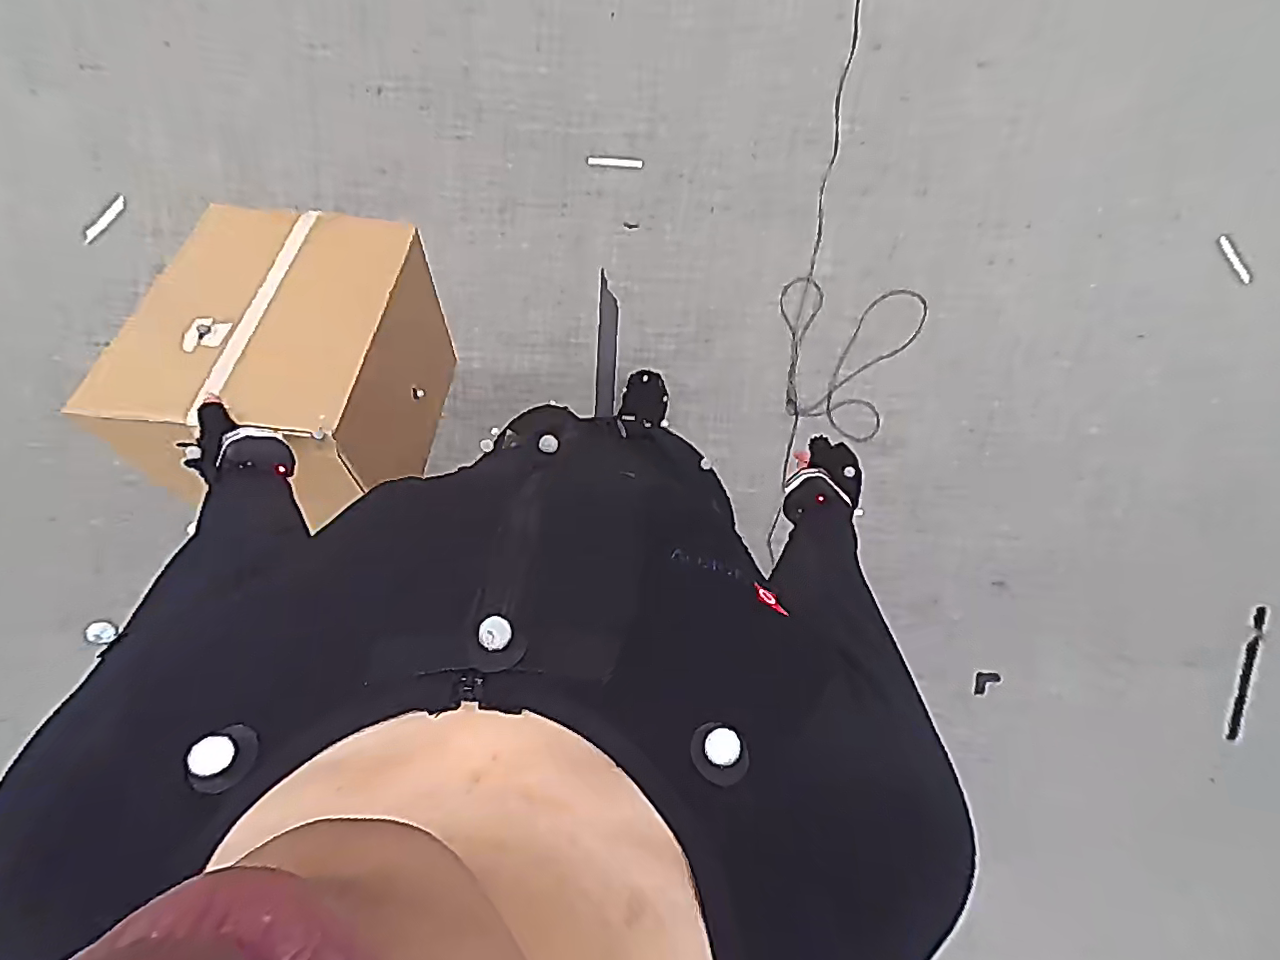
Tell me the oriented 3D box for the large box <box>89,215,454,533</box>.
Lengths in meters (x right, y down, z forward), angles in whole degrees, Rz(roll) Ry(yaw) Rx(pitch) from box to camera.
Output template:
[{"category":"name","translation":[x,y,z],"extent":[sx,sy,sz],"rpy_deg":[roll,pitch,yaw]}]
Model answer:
[{"category":"large box","translation":[-0.529,-0.165,0.894],"extent":[0.320,0.320,0.408],"rpy_deg":[4,60,-2]}]
